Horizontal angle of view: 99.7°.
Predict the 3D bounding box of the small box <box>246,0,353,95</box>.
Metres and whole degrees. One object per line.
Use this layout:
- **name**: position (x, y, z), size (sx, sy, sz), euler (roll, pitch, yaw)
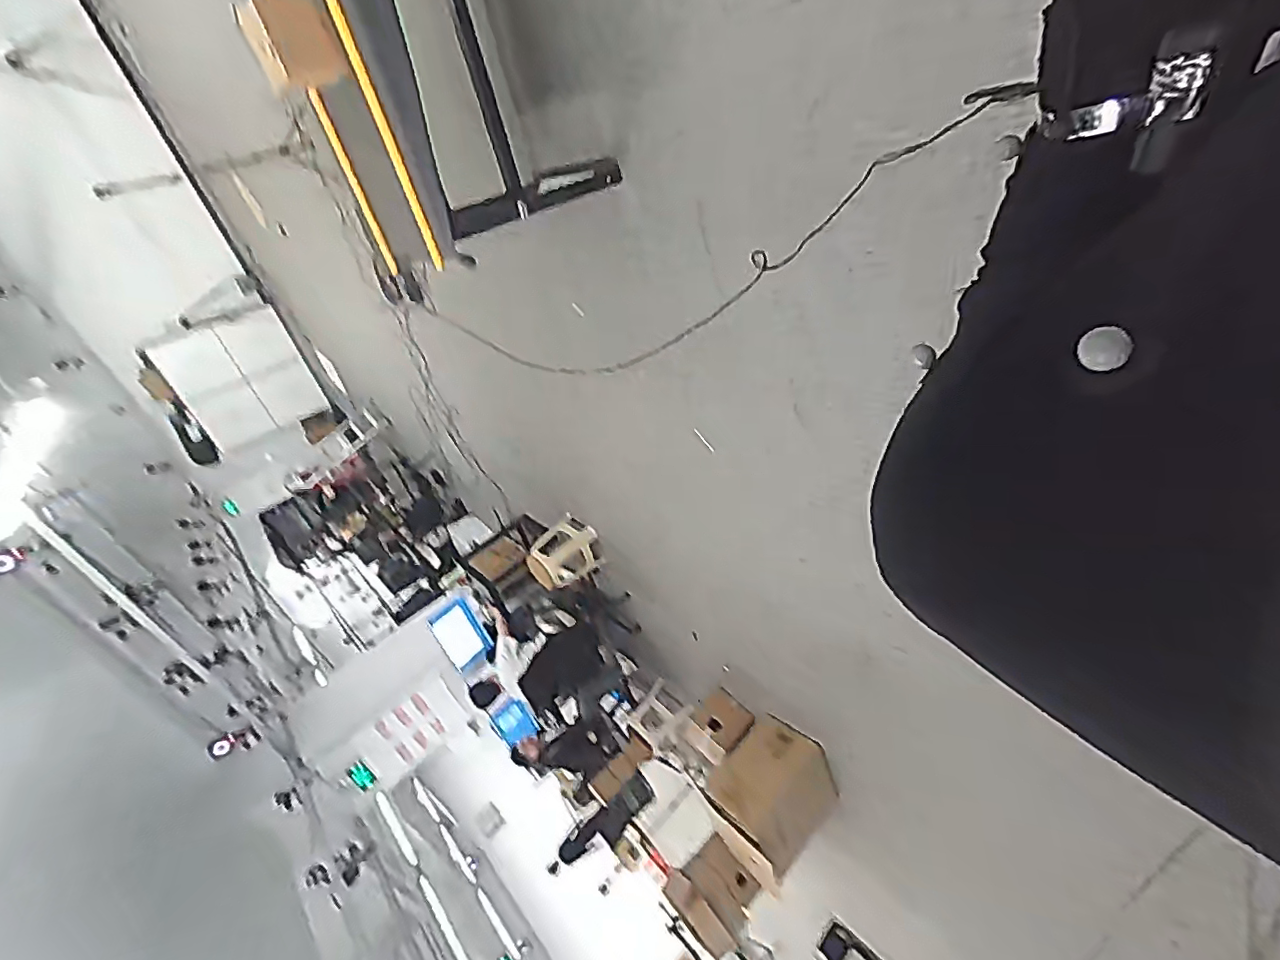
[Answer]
- **small box**: position (-0.889, -1.140, 1.420), size (0.179, 0.176, 0.168), euler (23, 139, 45)
